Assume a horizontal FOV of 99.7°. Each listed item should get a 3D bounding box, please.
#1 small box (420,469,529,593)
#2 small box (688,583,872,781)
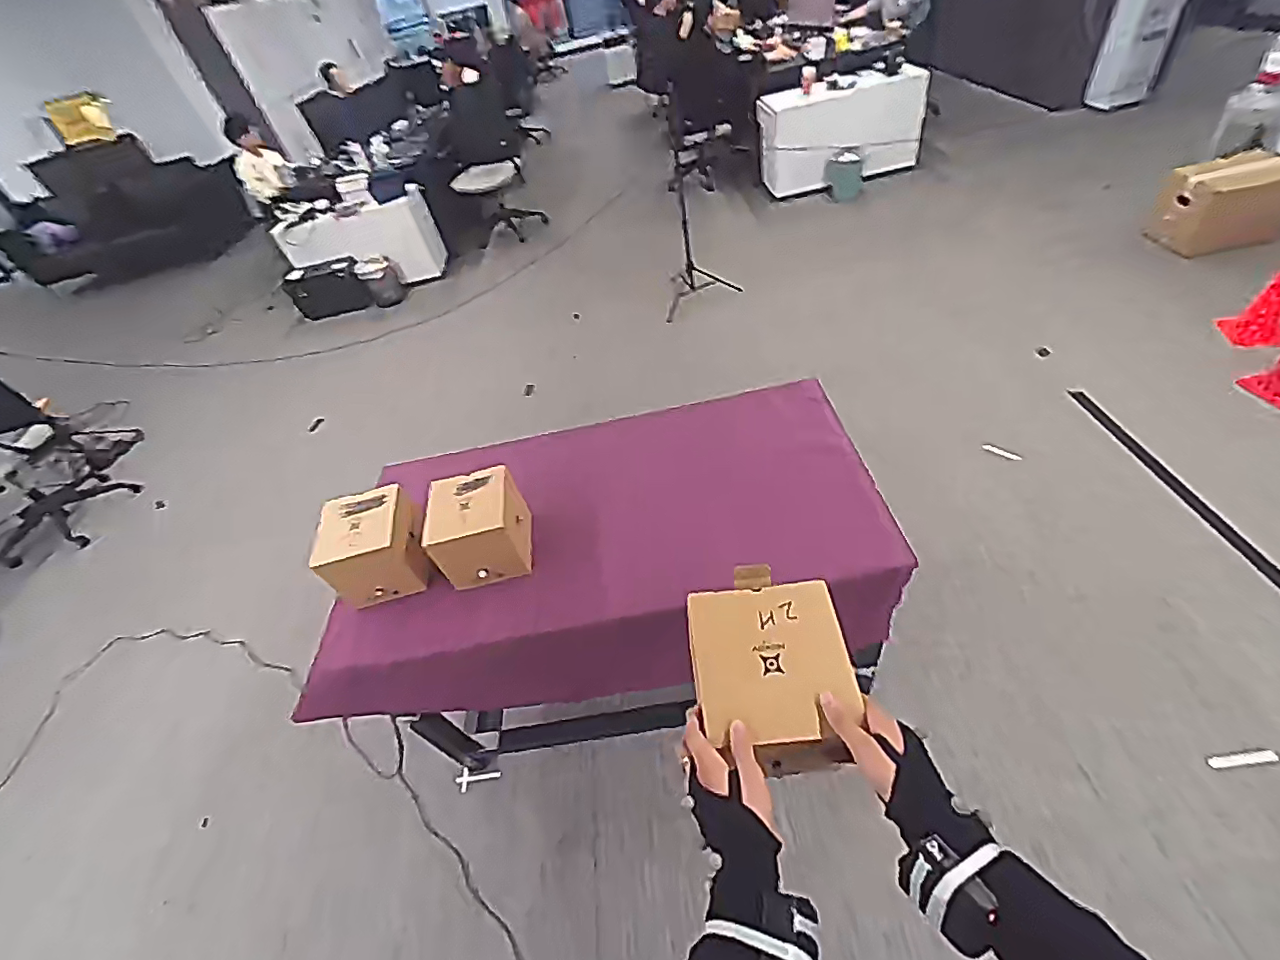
[{"bbox_3d":[-0.341,0.110,1.149,0.168,0.176,0.179,-15,46,2],"label":"small box"},{"bbox_3d":[0.151,0.245,0.641,0.168,0.176,0.179,-6,50,2],"label":"small box"}]
